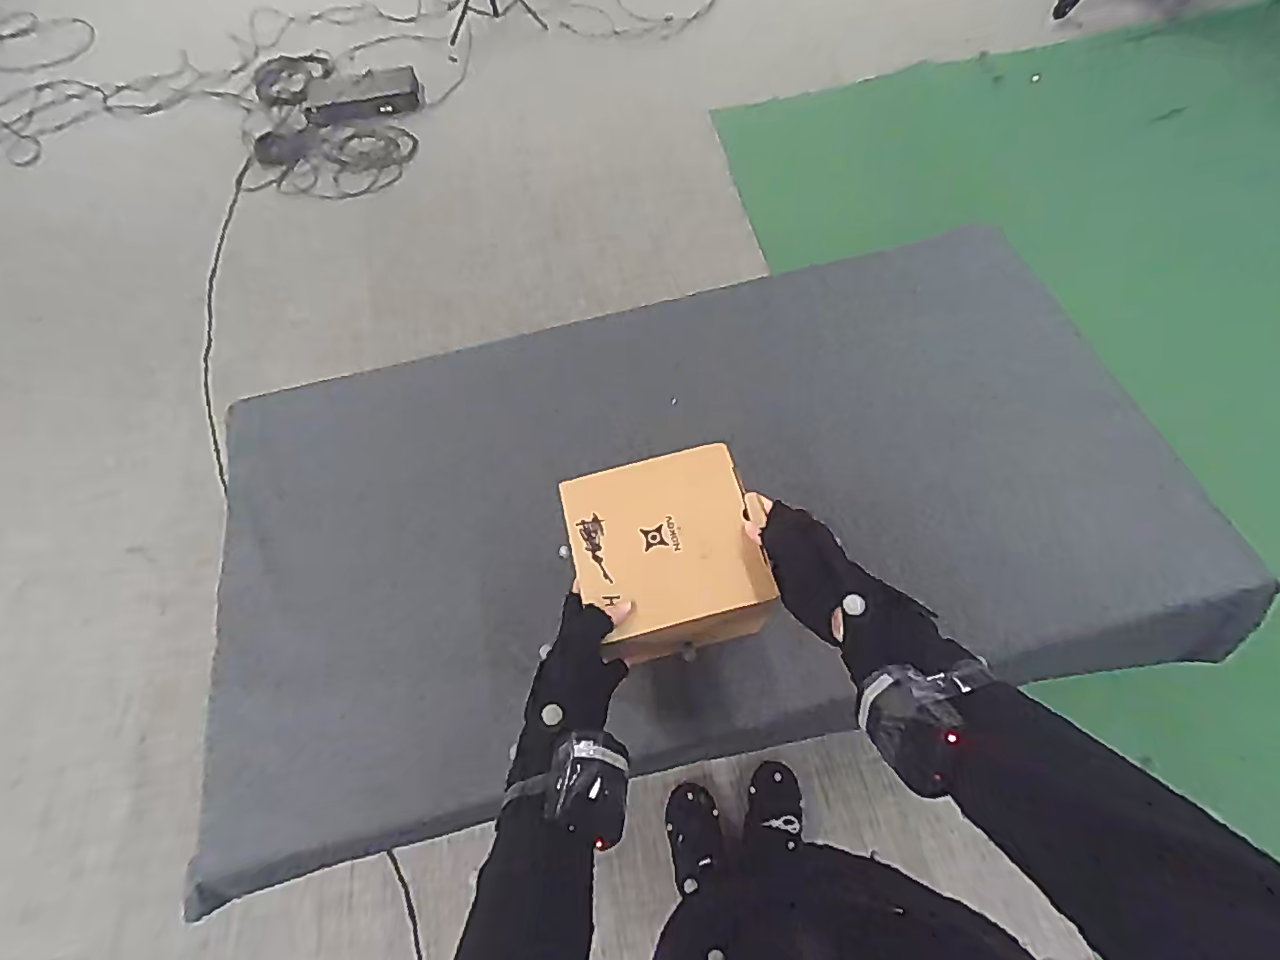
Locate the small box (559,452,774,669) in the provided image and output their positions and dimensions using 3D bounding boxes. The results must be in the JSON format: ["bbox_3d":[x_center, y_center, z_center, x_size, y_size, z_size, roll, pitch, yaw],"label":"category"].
[{"bbox_3d":[0.024,0.095,0.582,0.179,0.176,0.168,-14,64,-2],"label":"small box"}]
